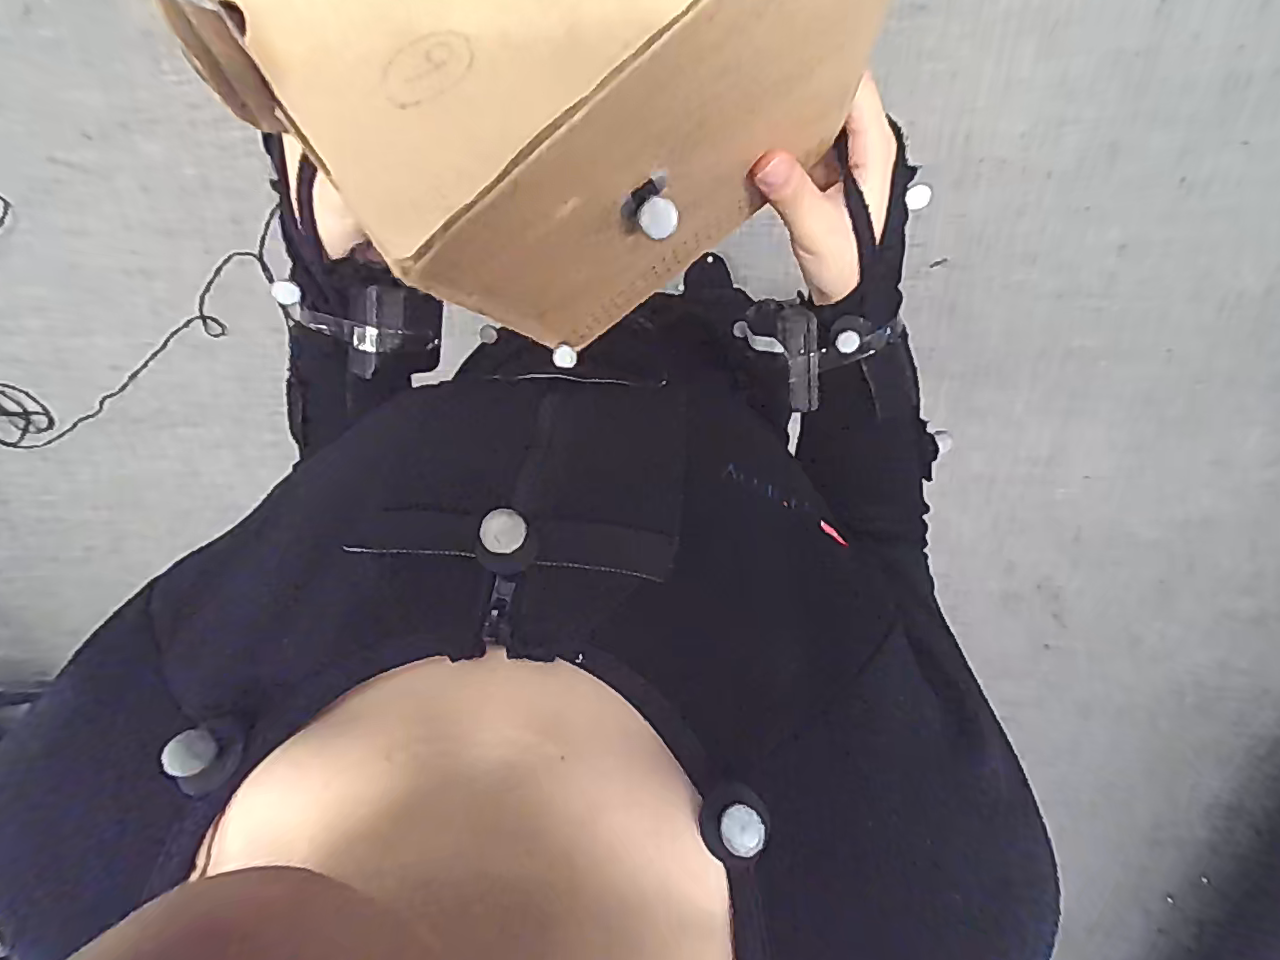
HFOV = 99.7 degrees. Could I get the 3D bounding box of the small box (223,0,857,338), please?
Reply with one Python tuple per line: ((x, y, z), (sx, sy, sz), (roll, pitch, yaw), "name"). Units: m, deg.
((-0.028, -0.181, 0.221), (0.179, 0.176, 0.168), (-36, 90, 10), "small box")
